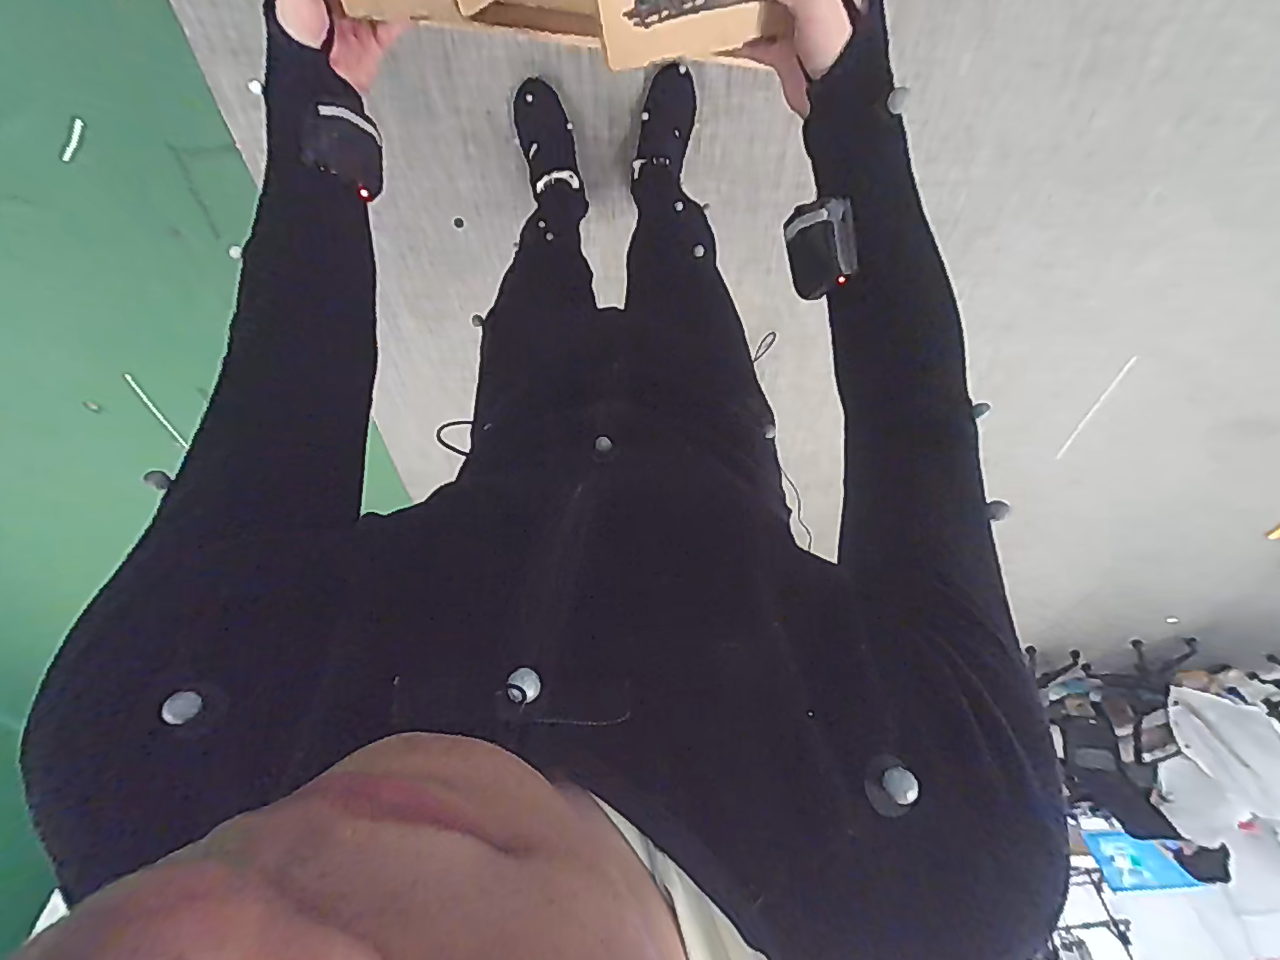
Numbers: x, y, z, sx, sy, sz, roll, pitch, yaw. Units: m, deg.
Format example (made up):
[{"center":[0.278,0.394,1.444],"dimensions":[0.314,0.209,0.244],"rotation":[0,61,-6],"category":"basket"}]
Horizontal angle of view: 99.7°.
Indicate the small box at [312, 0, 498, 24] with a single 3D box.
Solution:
[{"center":[-0.169,-0.468,0.386],"dimensions":[0.168,0.176,0.179],"rotation":[23,154,23],"category":"small box"}]
